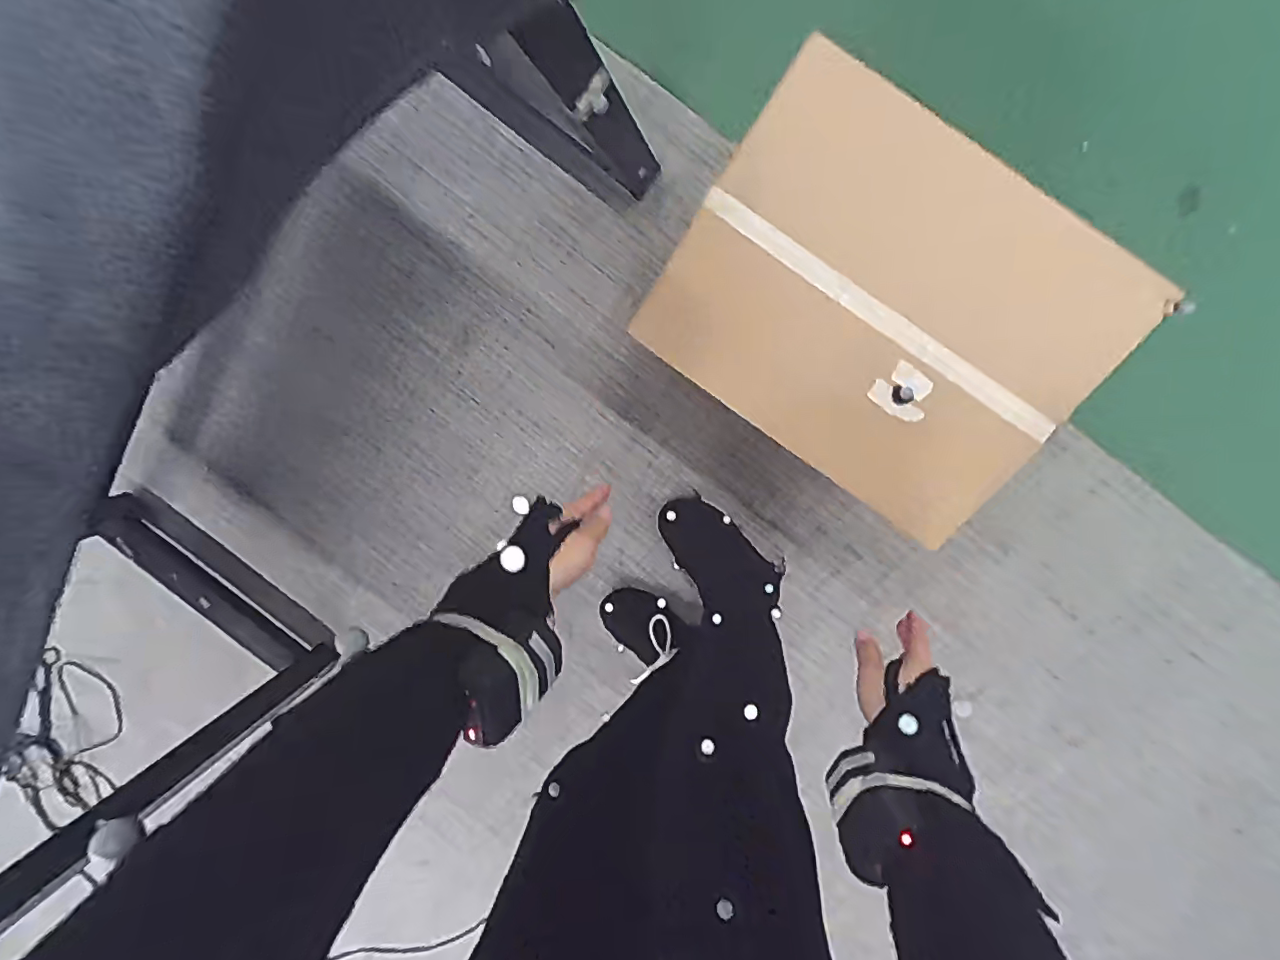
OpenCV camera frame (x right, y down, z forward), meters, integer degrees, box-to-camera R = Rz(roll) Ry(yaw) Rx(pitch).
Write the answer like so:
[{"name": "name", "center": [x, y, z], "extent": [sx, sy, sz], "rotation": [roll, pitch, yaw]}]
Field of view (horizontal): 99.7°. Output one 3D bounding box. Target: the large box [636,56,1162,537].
[{"name": "large box", "center": [0.261, -0.201, 0.683], "extent": [0.408, 0.320, 0.320], "rotation": [35, 108, 0]}]
